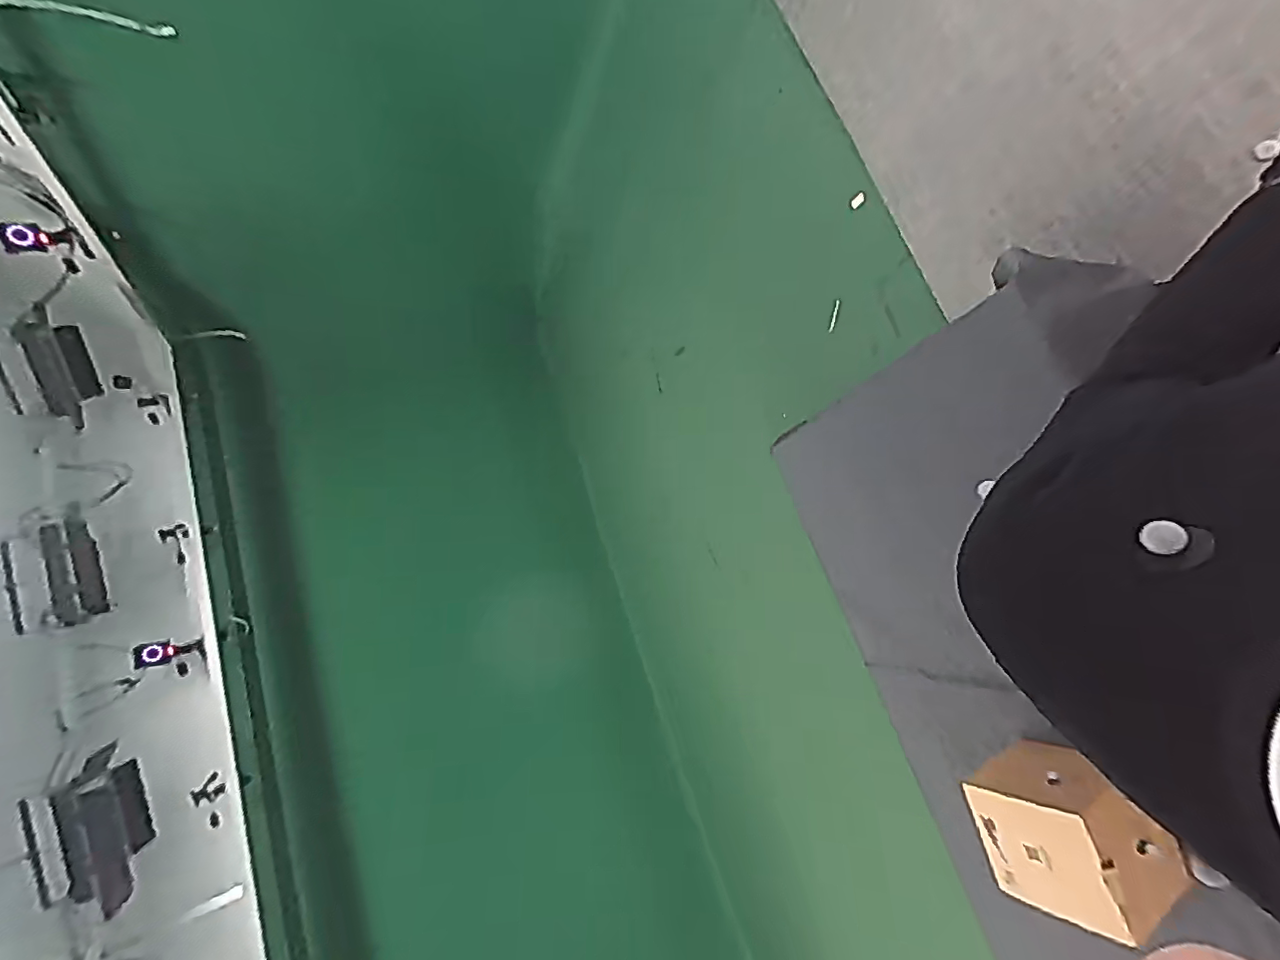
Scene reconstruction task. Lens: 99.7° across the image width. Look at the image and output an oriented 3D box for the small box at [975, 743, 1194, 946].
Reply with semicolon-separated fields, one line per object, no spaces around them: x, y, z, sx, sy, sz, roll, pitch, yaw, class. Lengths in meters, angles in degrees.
0.650;0.509;0.791;0.179;0.176;0.168;-38;69;62;small box
